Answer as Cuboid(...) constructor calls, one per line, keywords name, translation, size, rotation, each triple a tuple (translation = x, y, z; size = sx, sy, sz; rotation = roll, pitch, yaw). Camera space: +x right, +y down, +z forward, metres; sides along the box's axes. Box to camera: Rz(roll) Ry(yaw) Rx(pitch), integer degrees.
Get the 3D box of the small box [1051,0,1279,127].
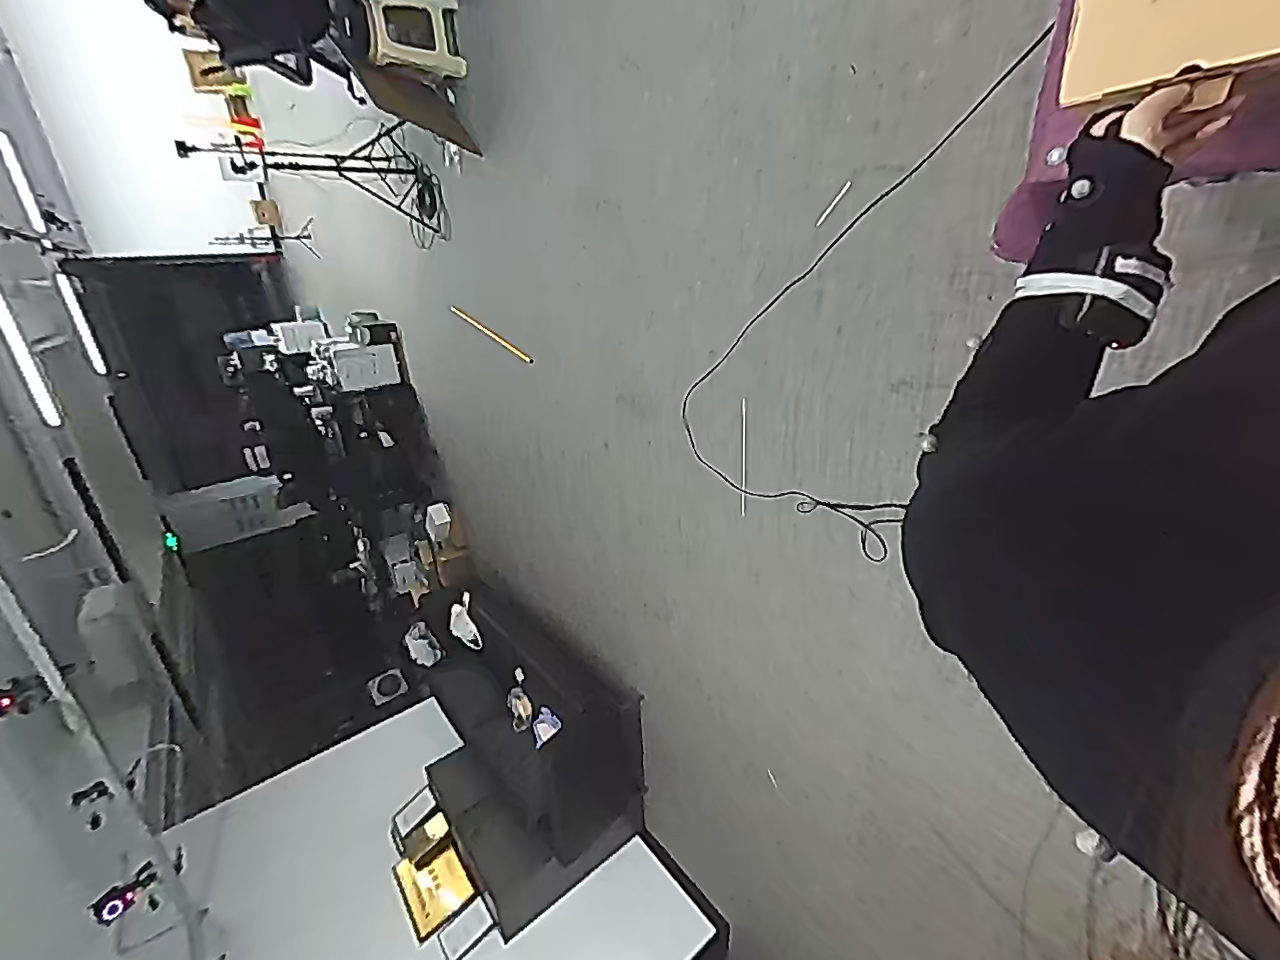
Cuboid(name="small box", translation=(0.466, -0.398, 0.428), size=(0.168, 0.176, 0.179), rotation=(20, 122, 47))
